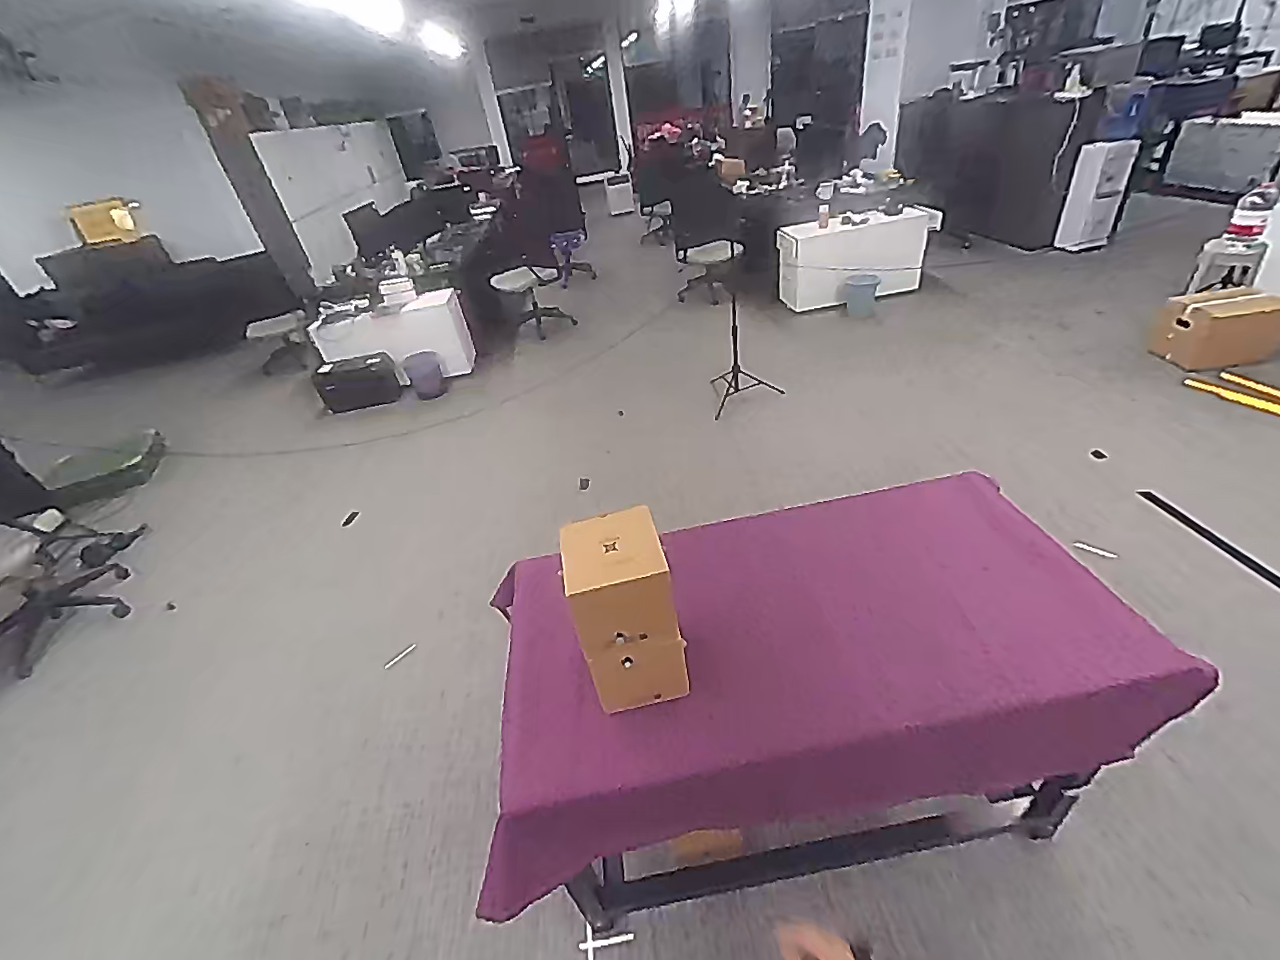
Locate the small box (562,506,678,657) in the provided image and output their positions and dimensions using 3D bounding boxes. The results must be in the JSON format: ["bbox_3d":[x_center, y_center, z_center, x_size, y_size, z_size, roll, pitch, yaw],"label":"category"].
[{"bbox_3d":[-0.036,0.175,0.943,0.168,0.176,0.179,-12,36,-4],"label":"small box"}]

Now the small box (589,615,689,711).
[{"bbox_3d":[-0.008,0.307,1.036,0.168,0.176,0.179,-12,35,-2],"label":"small box"}]
